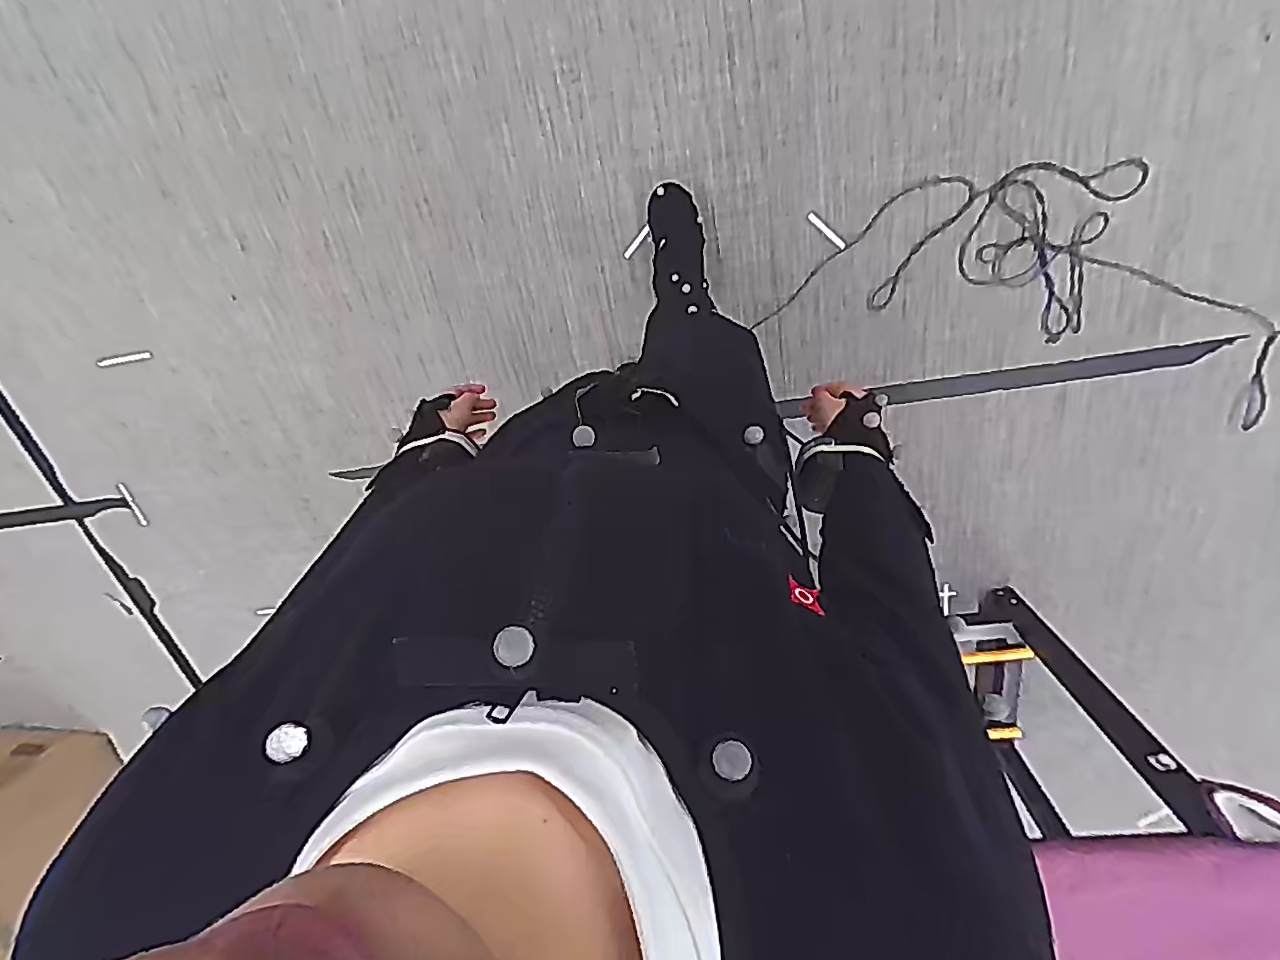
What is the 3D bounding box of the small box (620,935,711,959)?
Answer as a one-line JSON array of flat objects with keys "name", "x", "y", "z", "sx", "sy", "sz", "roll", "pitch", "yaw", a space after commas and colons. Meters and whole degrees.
[{"name": "small box", "x": 0.050, "y": 0.953, "z": 0.959, "sx": 0.168, "sy": 0.176, "sz": 0.179, "roll": -5, "pitch": 115, "yaw": 6}]
